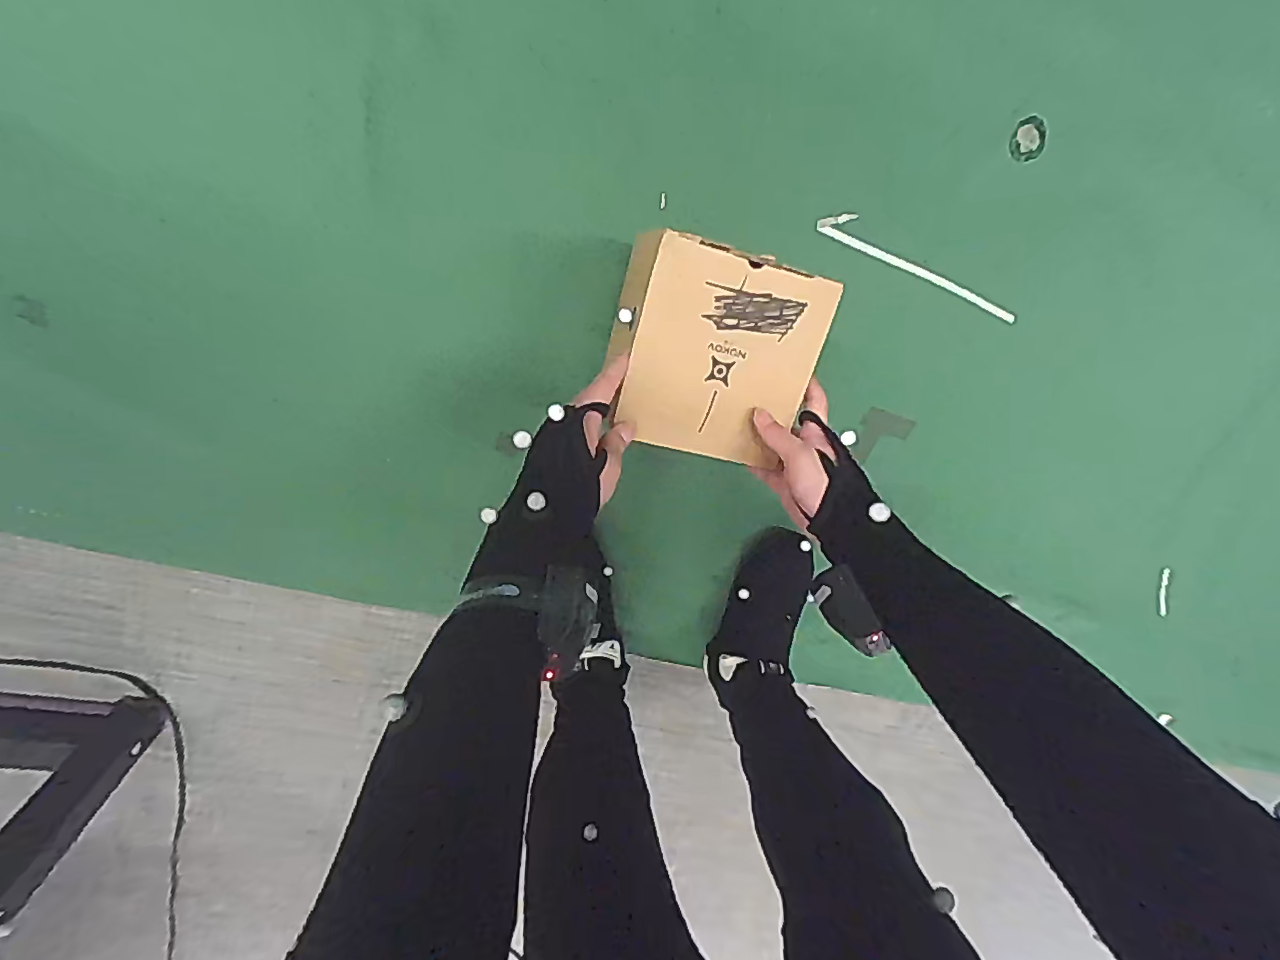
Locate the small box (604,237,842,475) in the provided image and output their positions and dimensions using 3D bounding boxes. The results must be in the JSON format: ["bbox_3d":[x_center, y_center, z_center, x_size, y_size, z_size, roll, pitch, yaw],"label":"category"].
[{"bbox_3d":[0.063,-0.129,0.545,0.168,0.176,0.179,12,111,-12],"label":"small box"}]
